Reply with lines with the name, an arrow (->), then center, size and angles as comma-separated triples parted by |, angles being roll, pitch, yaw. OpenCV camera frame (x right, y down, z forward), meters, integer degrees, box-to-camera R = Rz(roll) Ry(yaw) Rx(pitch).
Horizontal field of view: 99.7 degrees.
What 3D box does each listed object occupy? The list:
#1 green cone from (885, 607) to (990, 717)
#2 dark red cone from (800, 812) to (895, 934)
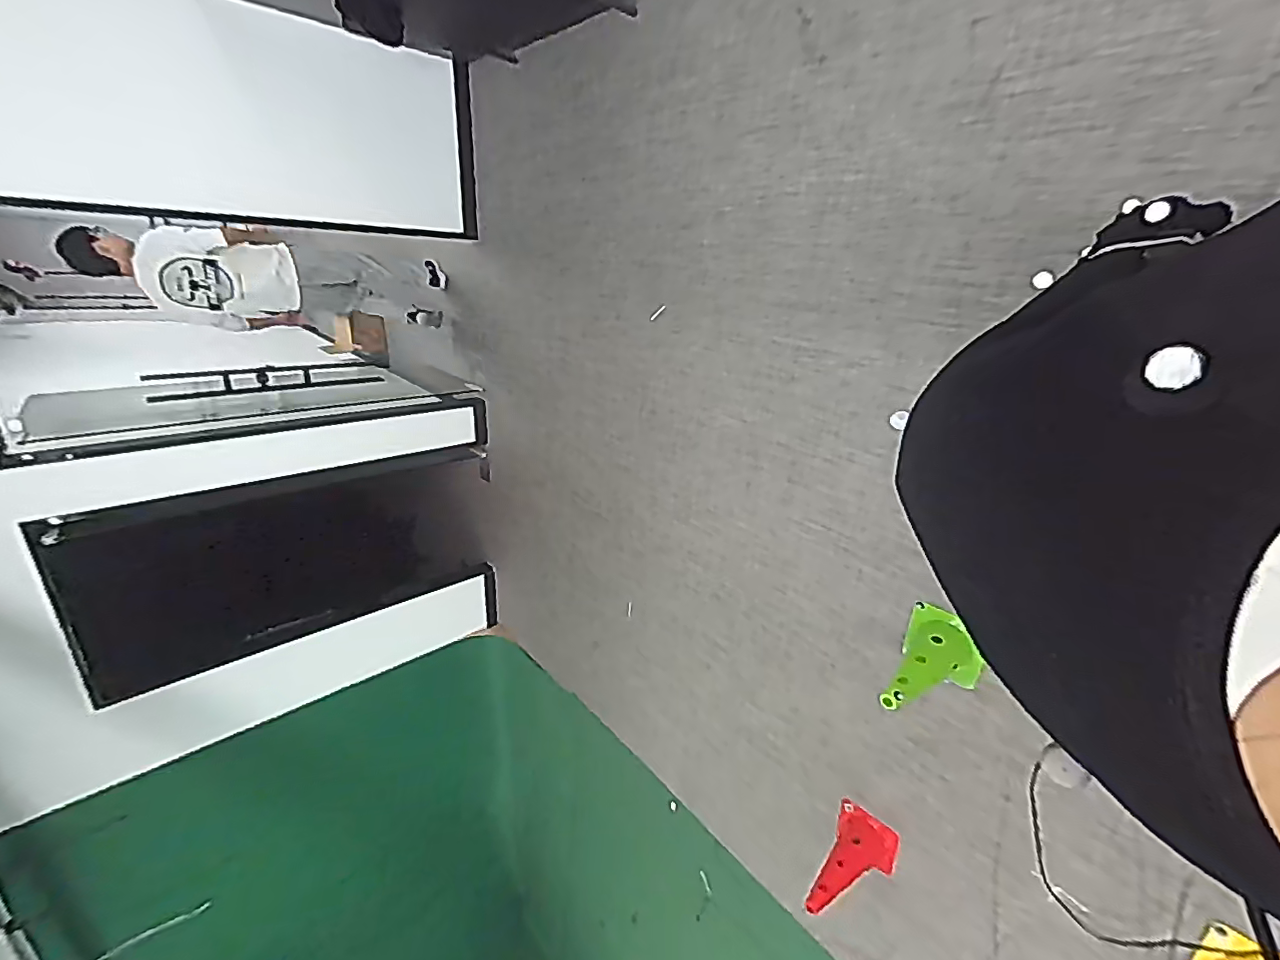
green cone -> 0.733, 0.516, 1.416 | 0.202, 0.368, 0.200 | 23, 119, 42
dark red cone -> 0.638, 1.293, 1.739 | 0.202, 0.394, 0.201 | 19, 117, 45
